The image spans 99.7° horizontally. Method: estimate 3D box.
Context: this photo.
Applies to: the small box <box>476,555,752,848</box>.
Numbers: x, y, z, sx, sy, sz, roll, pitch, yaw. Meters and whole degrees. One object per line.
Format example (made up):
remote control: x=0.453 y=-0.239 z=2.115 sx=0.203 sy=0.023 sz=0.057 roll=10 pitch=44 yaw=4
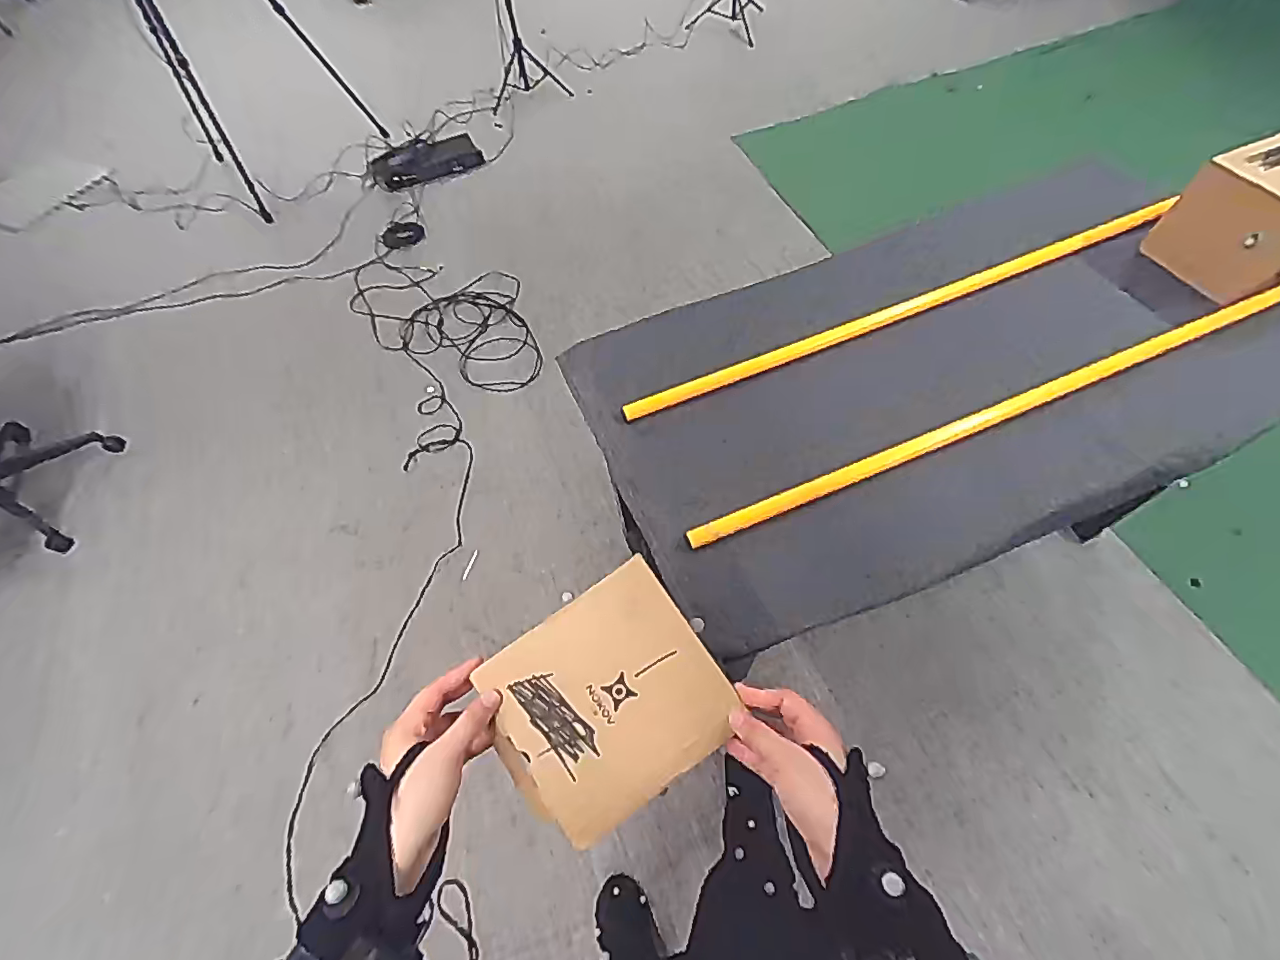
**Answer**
small box: x=-0.022 y=0.194 z=0.522 sx=0.179 sy=0.176 sz=0.168 roll=-35 pitch=80 yaw=-8
